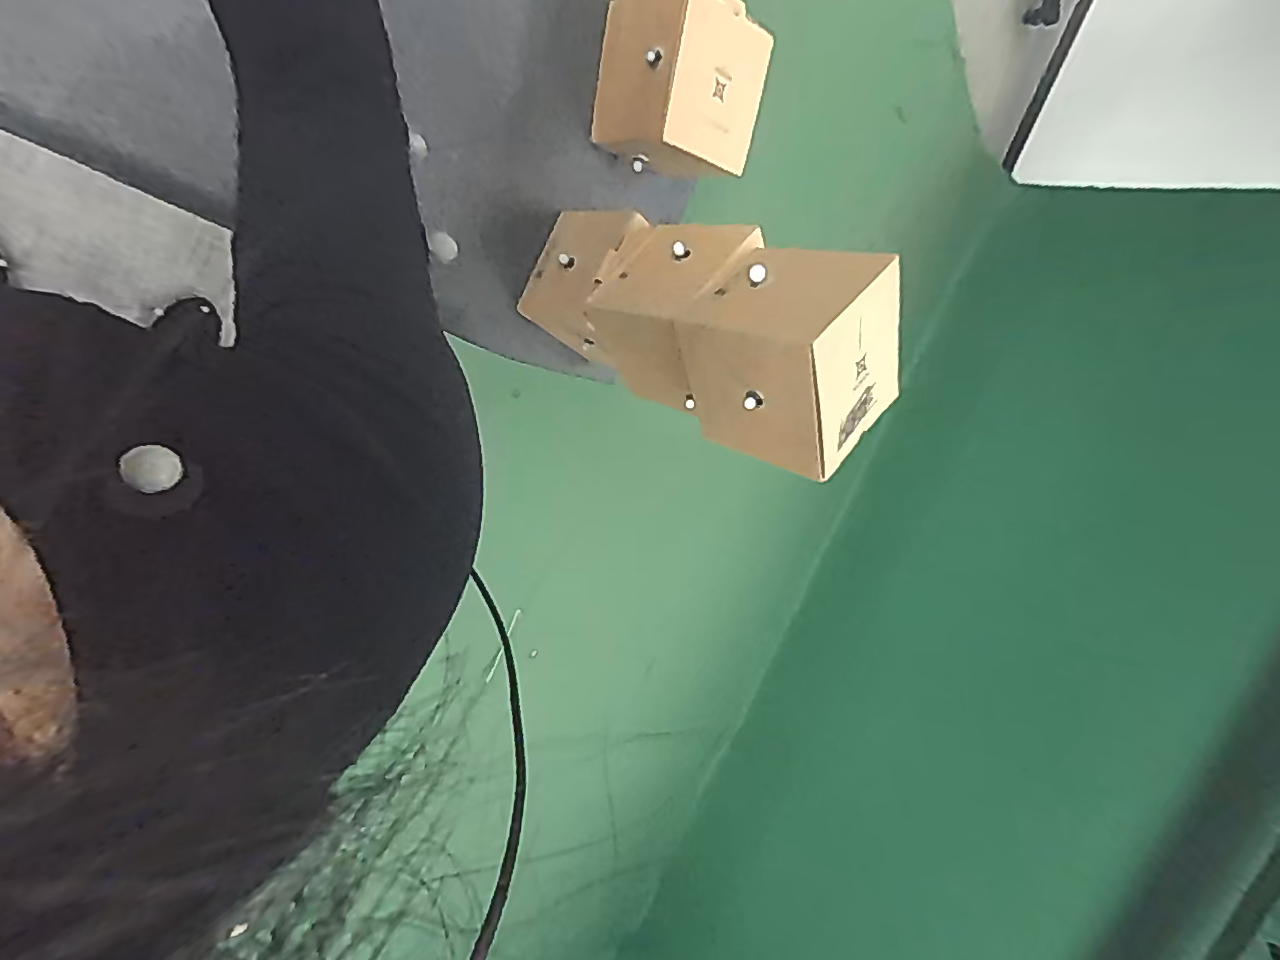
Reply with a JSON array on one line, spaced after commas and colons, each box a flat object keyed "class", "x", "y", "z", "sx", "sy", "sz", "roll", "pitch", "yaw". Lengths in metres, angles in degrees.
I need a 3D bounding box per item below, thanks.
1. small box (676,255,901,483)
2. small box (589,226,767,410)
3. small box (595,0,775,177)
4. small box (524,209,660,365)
[{"class": "small box", "x": 0.166, "y": -0.132, "z": 0.605, "sx": 0.168, "sy": 0.176, "sz": 0.179, "roll": -43, "pitch": 135, "yaw": -23}, {"class": "small box", "x": 0.064, "y": -0.208, "z": 0.712, "sx": 0.168, "sy": 0.176, "sz": 0.179, "roll": -51, "pitch": 138, "yaw": -16}, {"class": "small box", "x": 0.056, "y": -0.550, "z": 0.765, "sx": 0.168, "sy": 0.176, "sz": 0.179, "roll": -6, "pitch": 118, "yaw": -41}, {"class": "small box", "x": -0.043, "y": -0.277, "z": 0.814, "sx": 0.179, "sy": 0.176, "sz": 0.168, "roll": 25, "pitch": 90, "yaw": -49}]
